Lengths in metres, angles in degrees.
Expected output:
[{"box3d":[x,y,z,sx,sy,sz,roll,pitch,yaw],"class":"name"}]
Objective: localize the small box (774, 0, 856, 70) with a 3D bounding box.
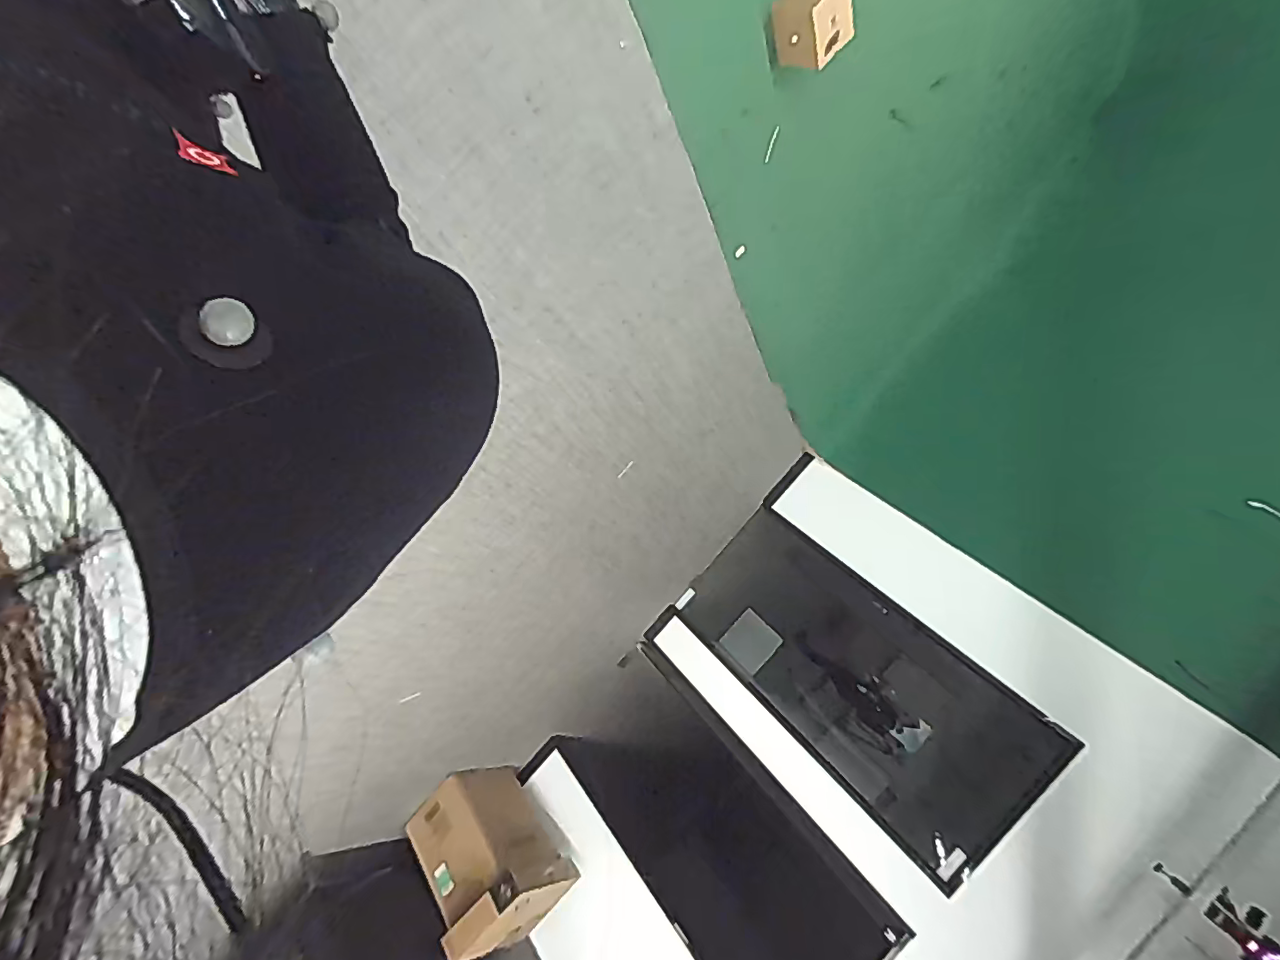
[{"box3d":[0.538,-1.418,1.665,0.168,0.176,0.179,-47,146,-2],"class":"small box"}]
